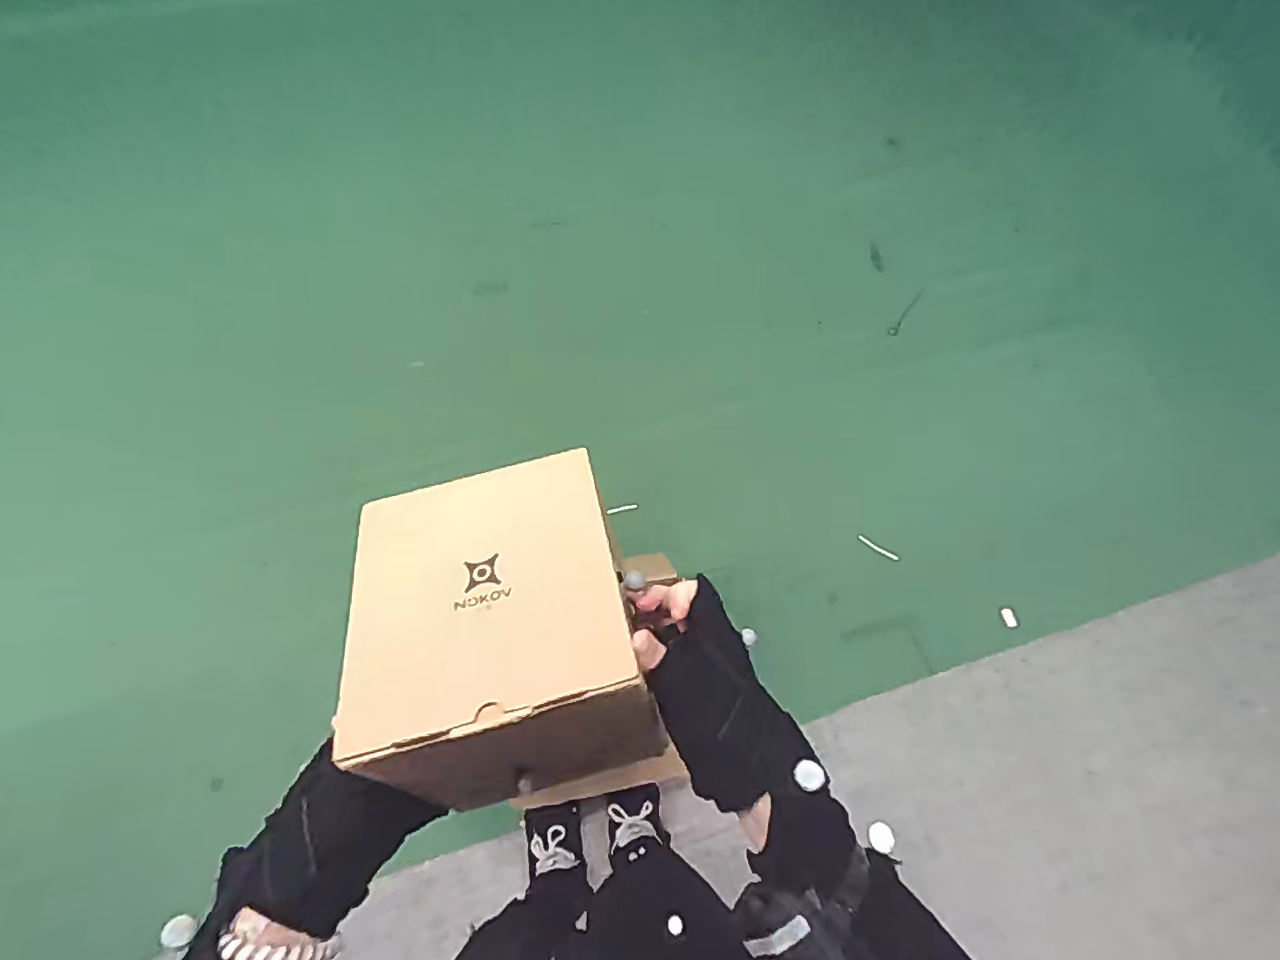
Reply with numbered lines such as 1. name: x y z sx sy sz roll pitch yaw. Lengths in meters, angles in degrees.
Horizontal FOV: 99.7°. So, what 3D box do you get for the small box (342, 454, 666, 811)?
1. small box: -0.084 0.114 0.396 0.168 0.176 0.179 -15 51 -3
